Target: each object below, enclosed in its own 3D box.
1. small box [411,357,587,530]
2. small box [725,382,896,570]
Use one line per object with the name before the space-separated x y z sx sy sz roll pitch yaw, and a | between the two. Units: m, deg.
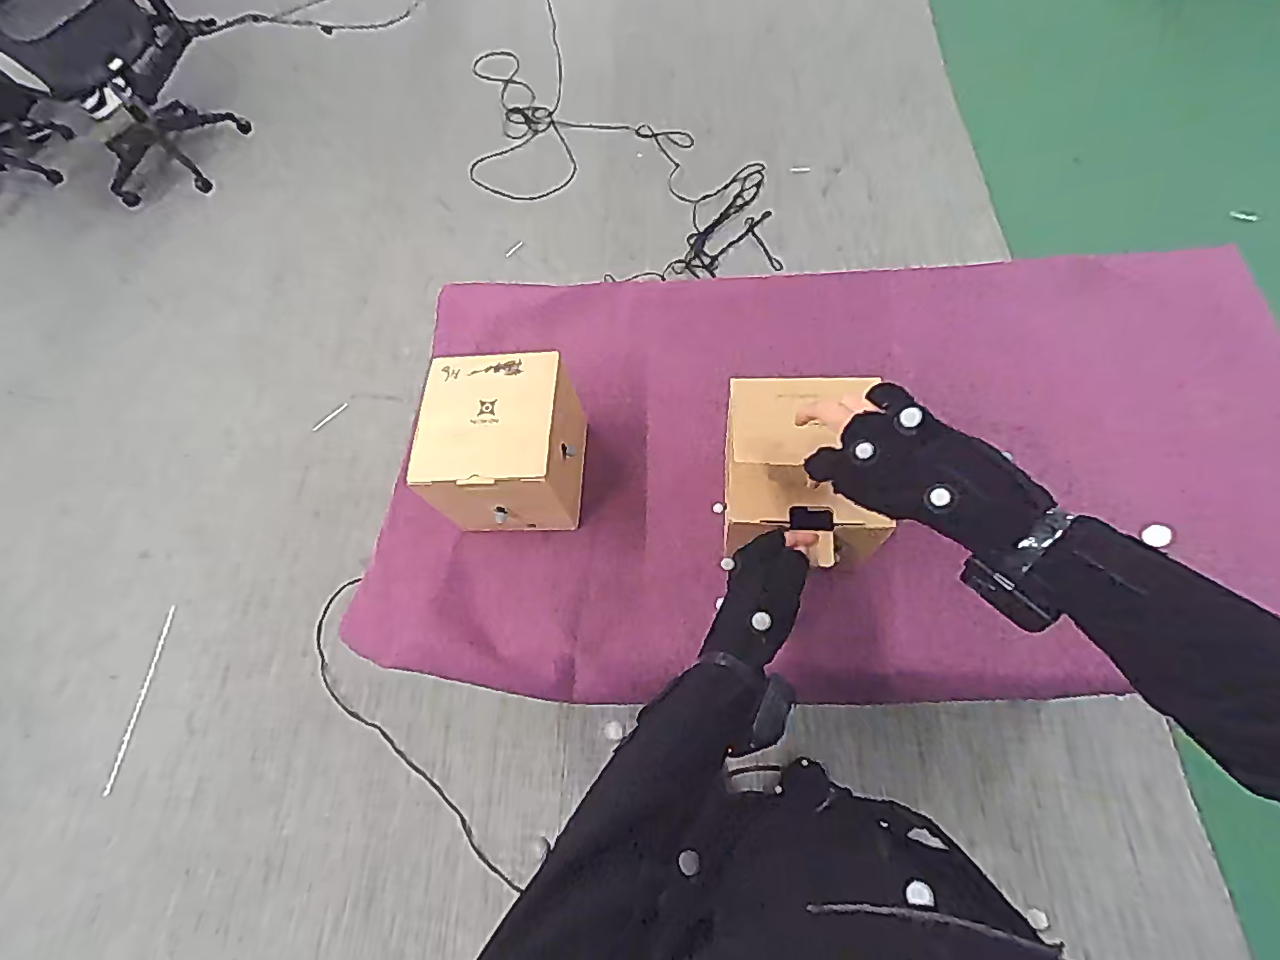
small box | -0.169 -0.038 0.709 0.168 0.176 0.179 -1 66 7
small box | 0.188 0.003 0.644 0.168 0.176 0.179 1 65 8
